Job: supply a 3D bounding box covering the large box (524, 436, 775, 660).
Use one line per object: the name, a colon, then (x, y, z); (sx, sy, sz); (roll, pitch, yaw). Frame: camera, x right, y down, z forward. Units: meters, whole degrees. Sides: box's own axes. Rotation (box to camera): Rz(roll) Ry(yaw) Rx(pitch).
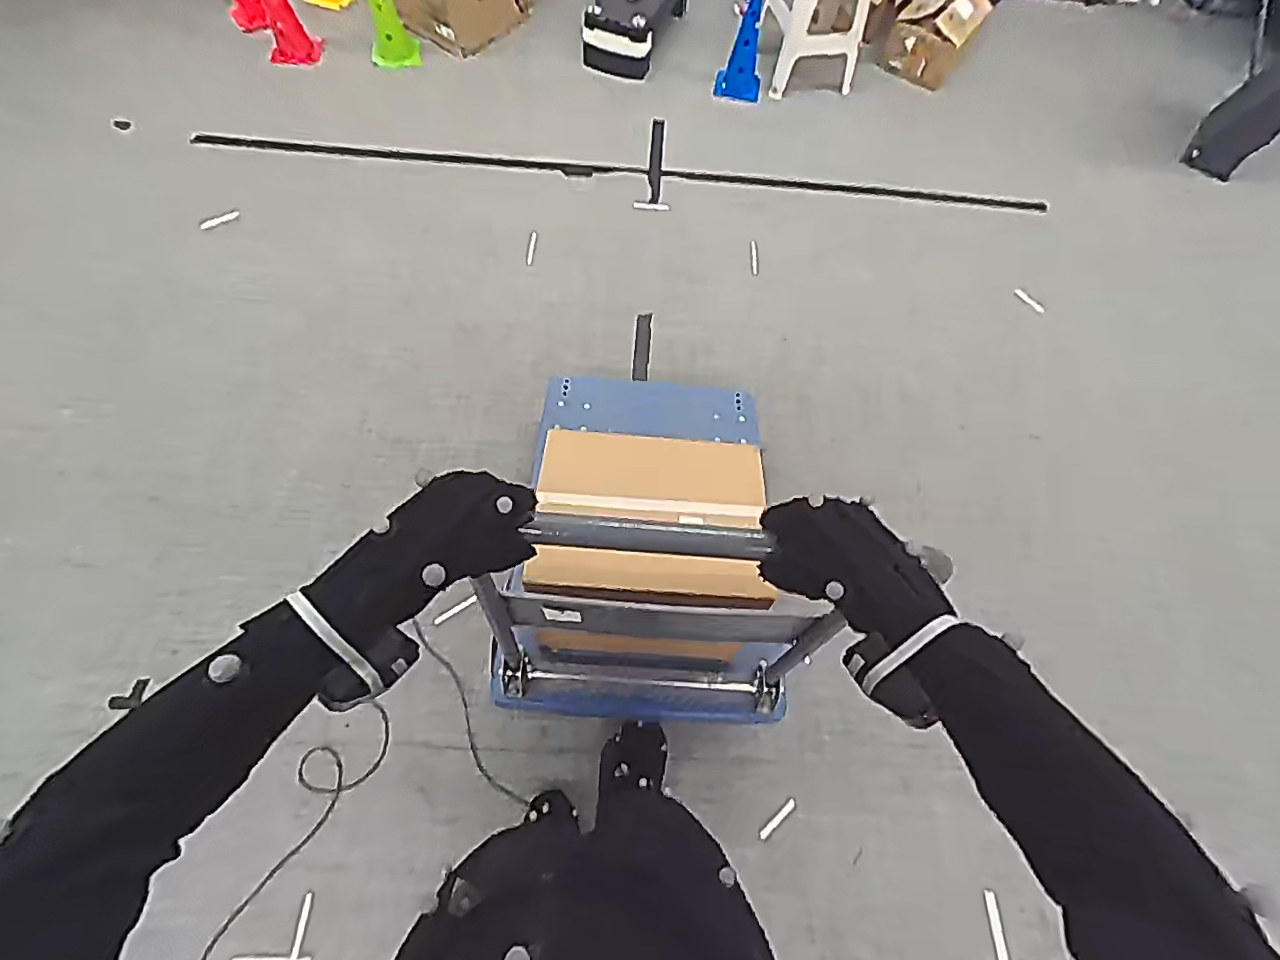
large box: (0.005, 0.142, 1.046); (0.408, 0.320, 0.320); (5, 55, -3)
